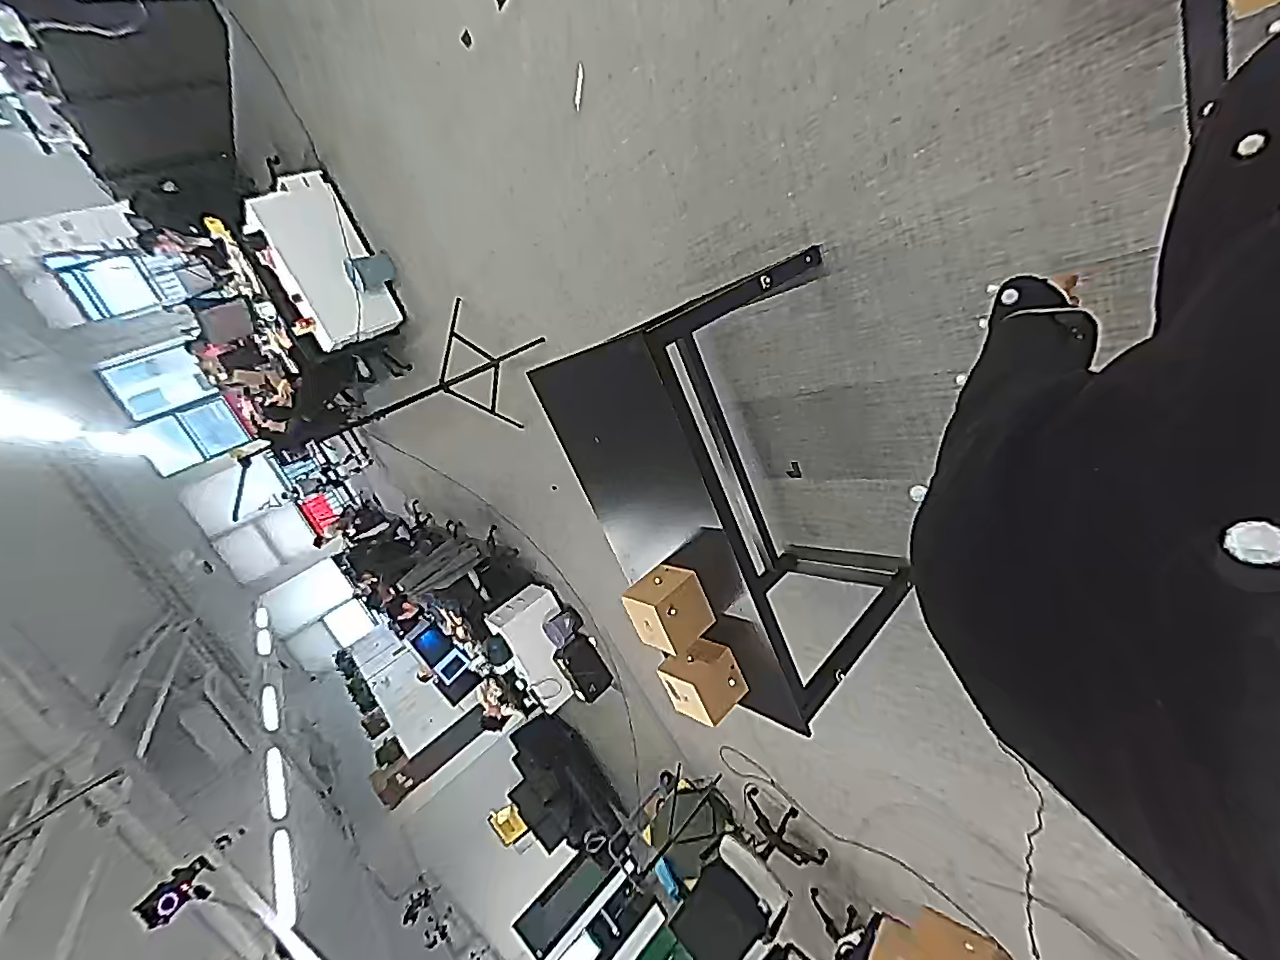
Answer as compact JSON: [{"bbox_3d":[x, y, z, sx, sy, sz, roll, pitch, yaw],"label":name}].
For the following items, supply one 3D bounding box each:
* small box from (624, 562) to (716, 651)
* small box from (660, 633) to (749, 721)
[{"bbox_3d":[0.091,0.358,1.571,0.168,0.176,0.179,1,120,56],"label":"small box"},{"bbox_3d":[0.198,0.590,1.648,0.179,0.176,0.168,-3,118,55],"label":"small box"}]
